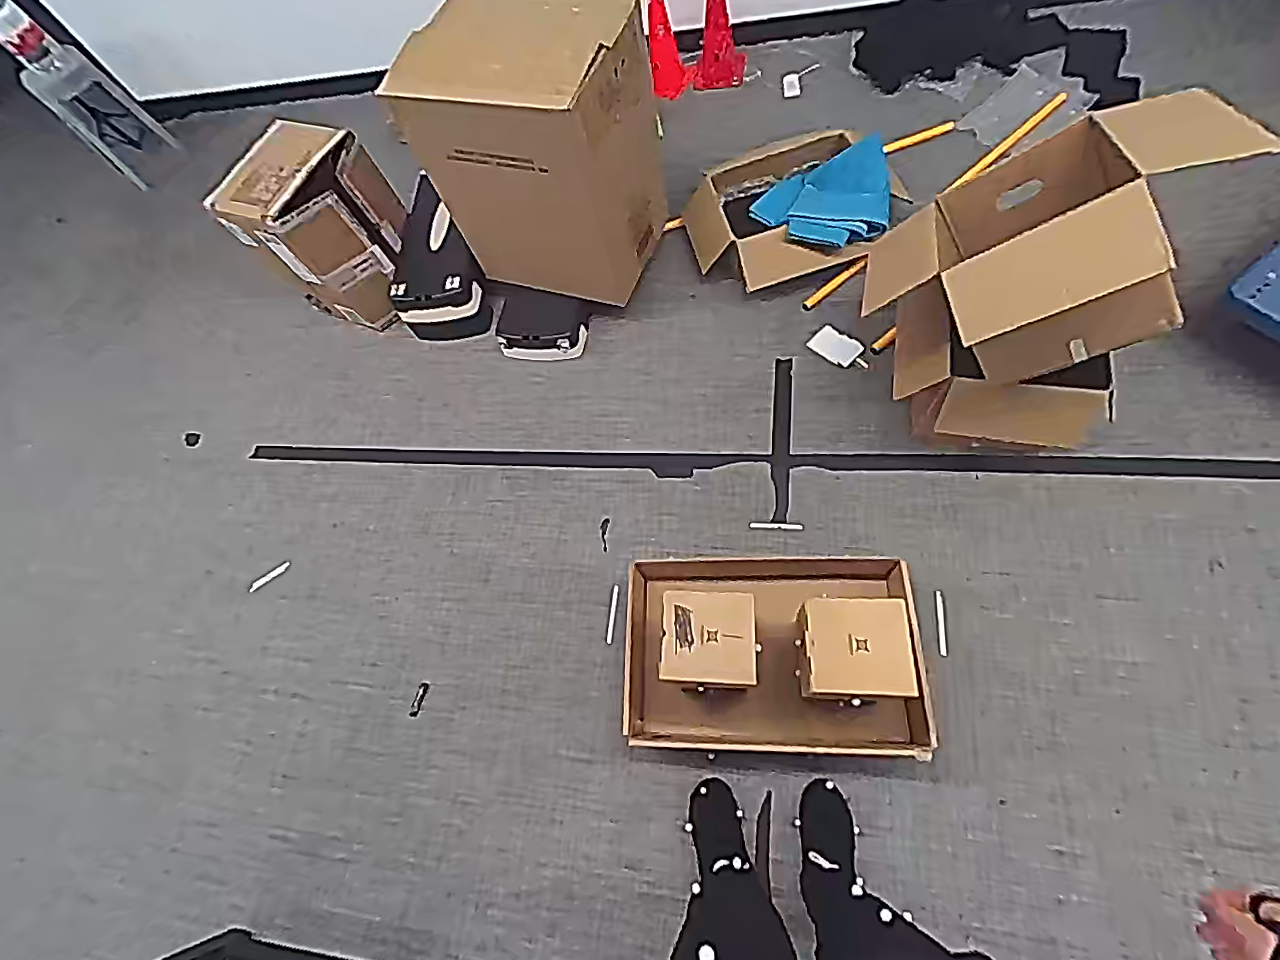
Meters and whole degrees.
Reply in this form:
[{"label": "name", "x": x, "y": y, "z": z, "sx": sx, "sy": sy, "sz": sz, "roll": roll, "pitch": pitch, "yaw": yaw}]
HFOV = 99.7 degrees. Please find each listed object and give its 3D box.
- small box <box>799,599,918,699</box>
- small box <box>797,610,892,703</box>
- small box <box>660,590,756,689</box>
[{"label": "small box", "x": 0.404, "y": 0.325, "z": 1.027, "sx": 0.179, "sy": 0.176, "sz": 0.168, "roll": -2, "pitch": 67, "yaw": 12}, {"label": "small box", "x": 0.436, "y": 0.387, "z": 1.174, "sx": 0.168, "sy": 0.176, "sz": 0.179, "roll": -1, "pitch": 66, "yaw": 10}, {"label": "small box", "x": 0.140, "y": 0.322, "z": 1.077, "sx": 0.179, "sy": 0.176, "sz": 0.168, "roll": 1, "pitch": 67, "yaw": 9}]
